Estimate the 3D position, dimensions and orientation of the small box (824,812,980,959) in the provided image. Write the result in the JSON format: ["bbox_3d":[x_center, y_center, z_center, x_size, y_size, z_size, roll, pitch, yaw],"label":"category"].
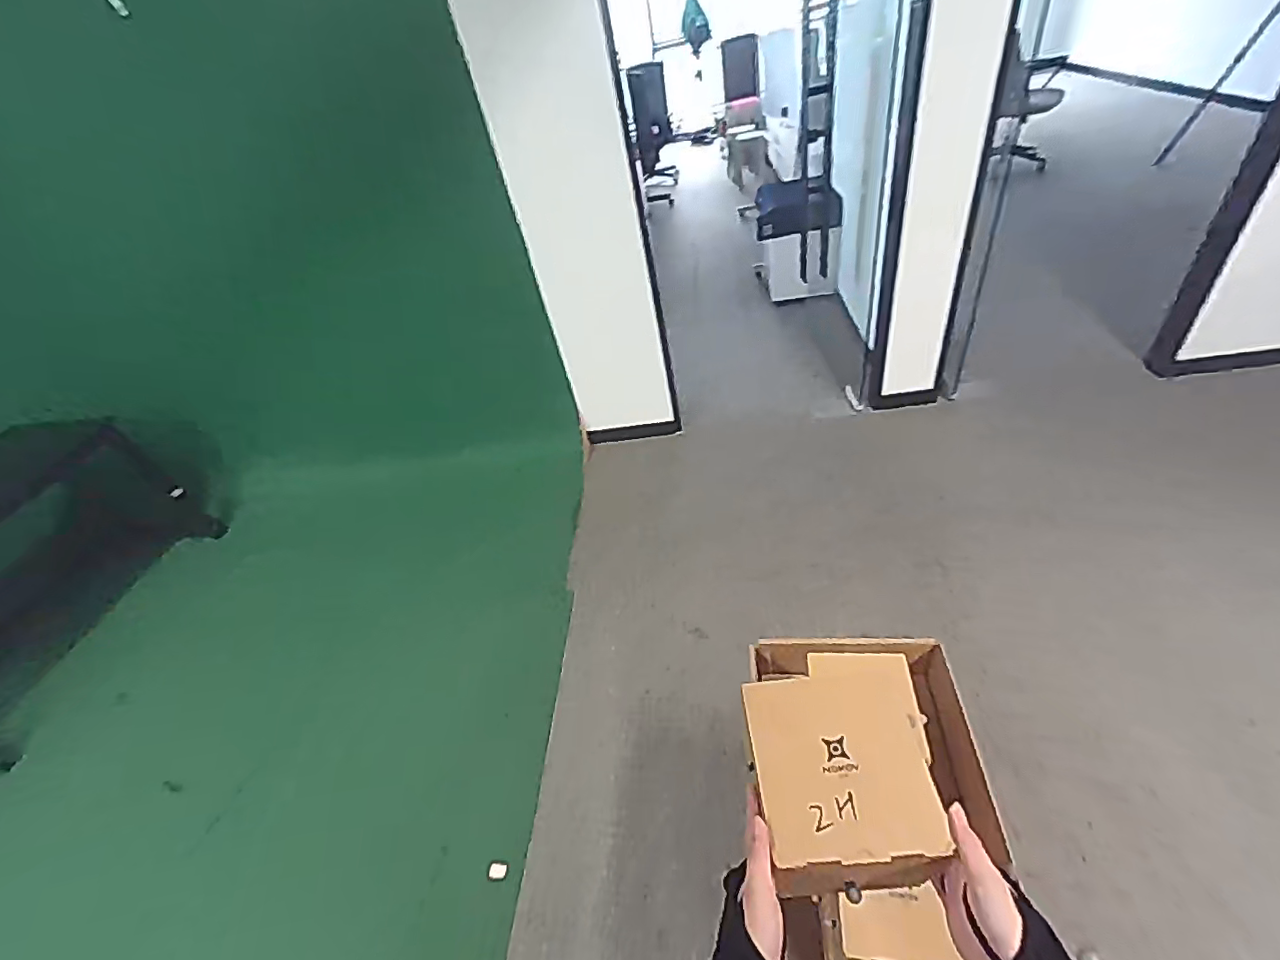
[{"bbox_3d":[0.352,0.583,0.764,0.168,0.176,0.179,0,43,14],"label":"small box"}]

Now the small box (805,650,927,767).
[{"bbox_3d":[0.377,0.418,0.944,0.168,0.176,0.179,-2,45,12],"label":"small box"}]

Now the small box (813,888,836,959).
[{"bbox_3d":[0.374,0.696,0.879,0.168,0.176,0.179,-2,42,12],"label":"small box"}]

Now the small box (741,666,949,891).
[{"bbox_3d":[0.205,0.333,0.603,0.168,0.176,0.179,-8,45,5],"label":"small box"}]
